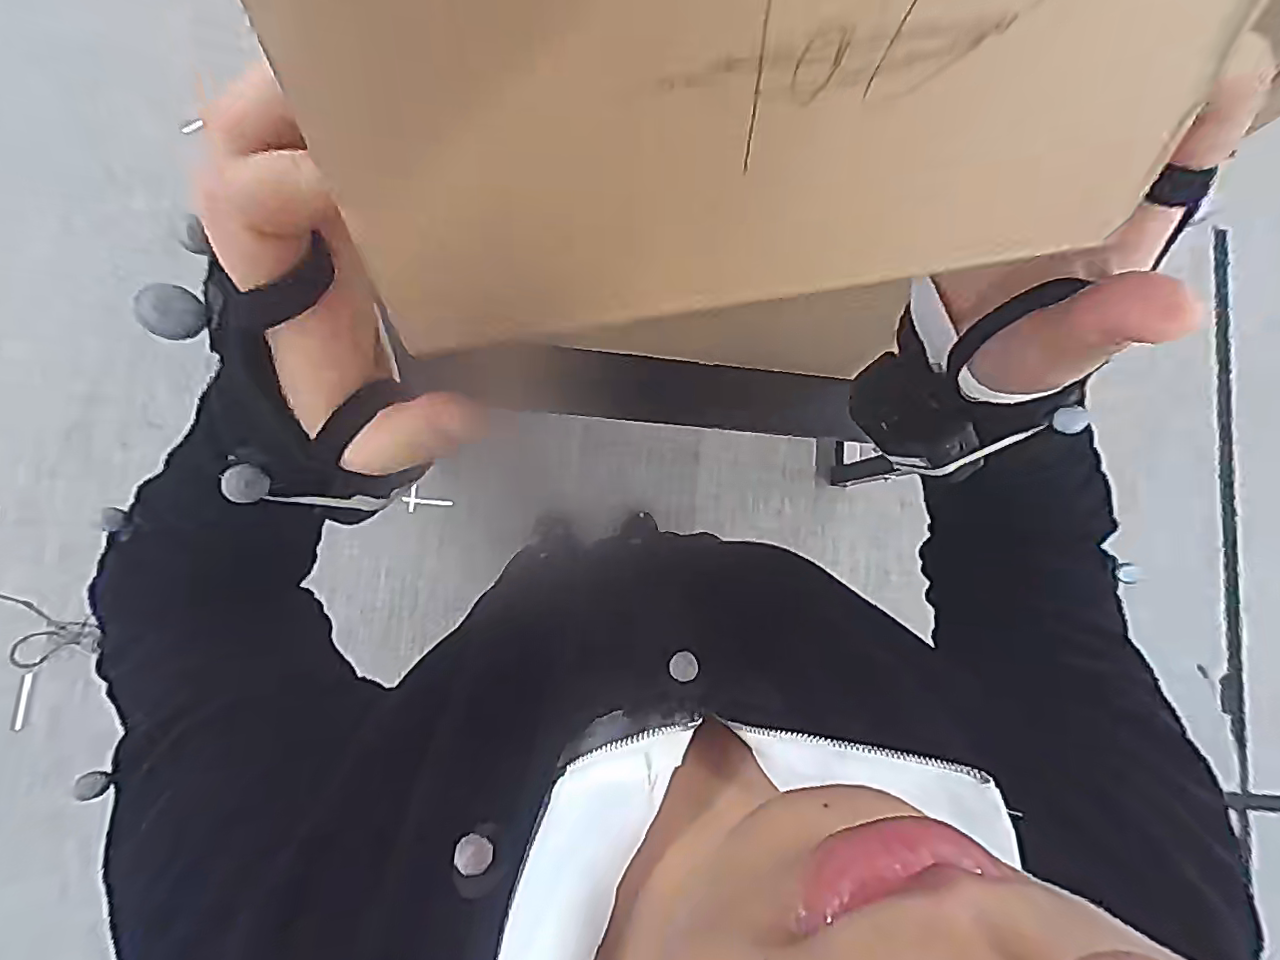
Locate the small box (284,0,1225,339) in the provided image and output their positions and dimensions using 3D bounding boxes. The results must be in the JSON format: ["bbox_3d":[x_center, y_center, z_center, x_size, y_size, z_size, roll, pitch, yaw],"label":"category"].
[{"bbox_3d":[0.011,-0.163,0.118,0.168,0.179,0.176,-10,50,-1],"label":"small box"}]
